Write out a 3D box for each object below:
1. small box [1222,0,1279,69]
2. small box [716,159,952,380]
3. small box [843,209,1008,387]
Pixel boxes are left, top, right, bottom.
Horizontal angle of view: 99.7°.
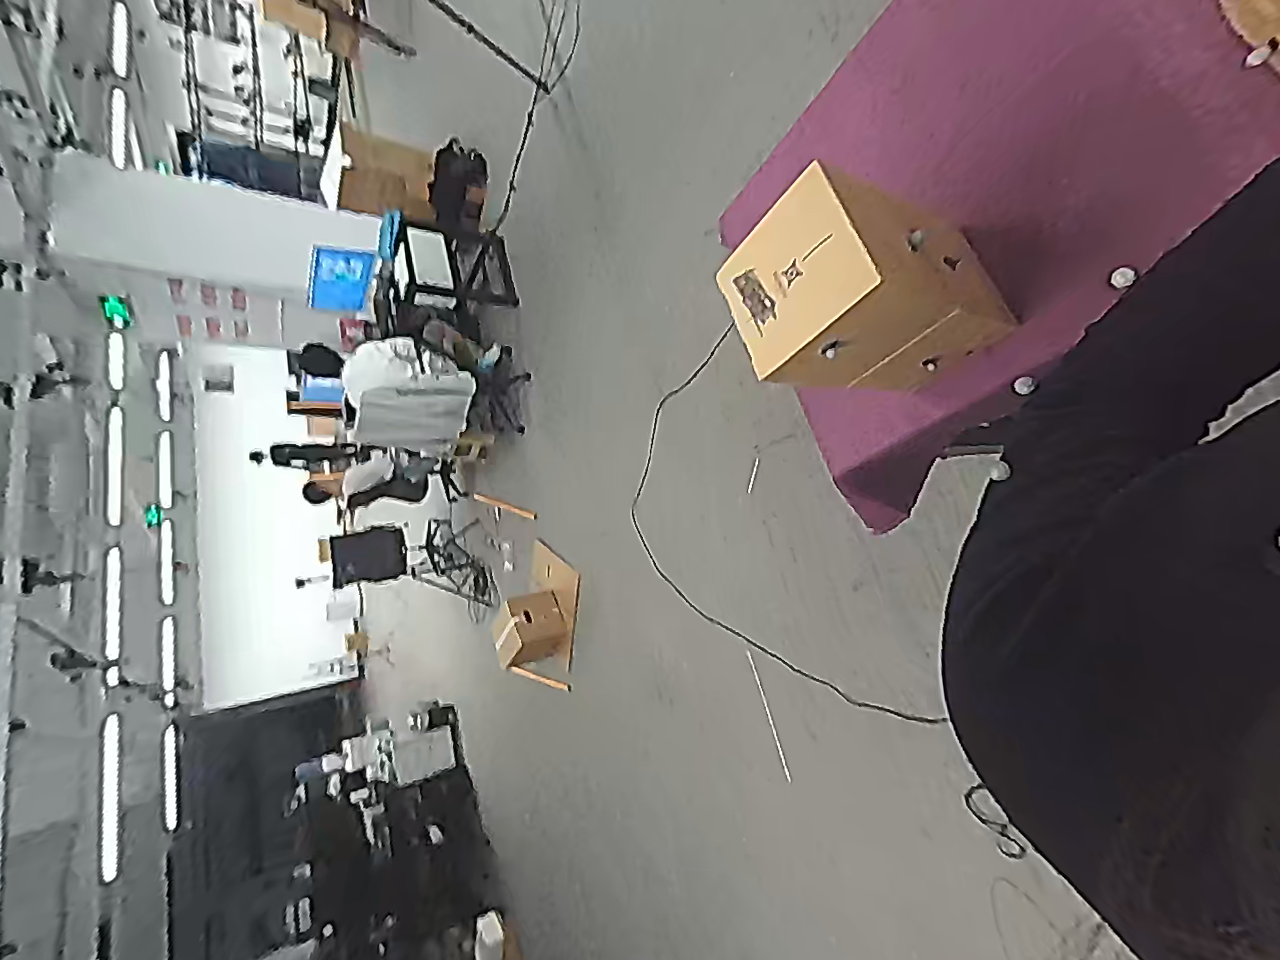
[{"bbox_3d":[0.594,-0.424,0.412,0.179,0.176,0.168,-41,60,49],"label":"small box"},{"bbox_3d":[0.229,-0.235,0.655,0.179,0.176,0.168,-40,62,48],"label":"small box"},{"bbox_3d":[0.363,-0.244,0.750,0.168,0.176,0.179,-39,61,48],"label":"small box"}]
